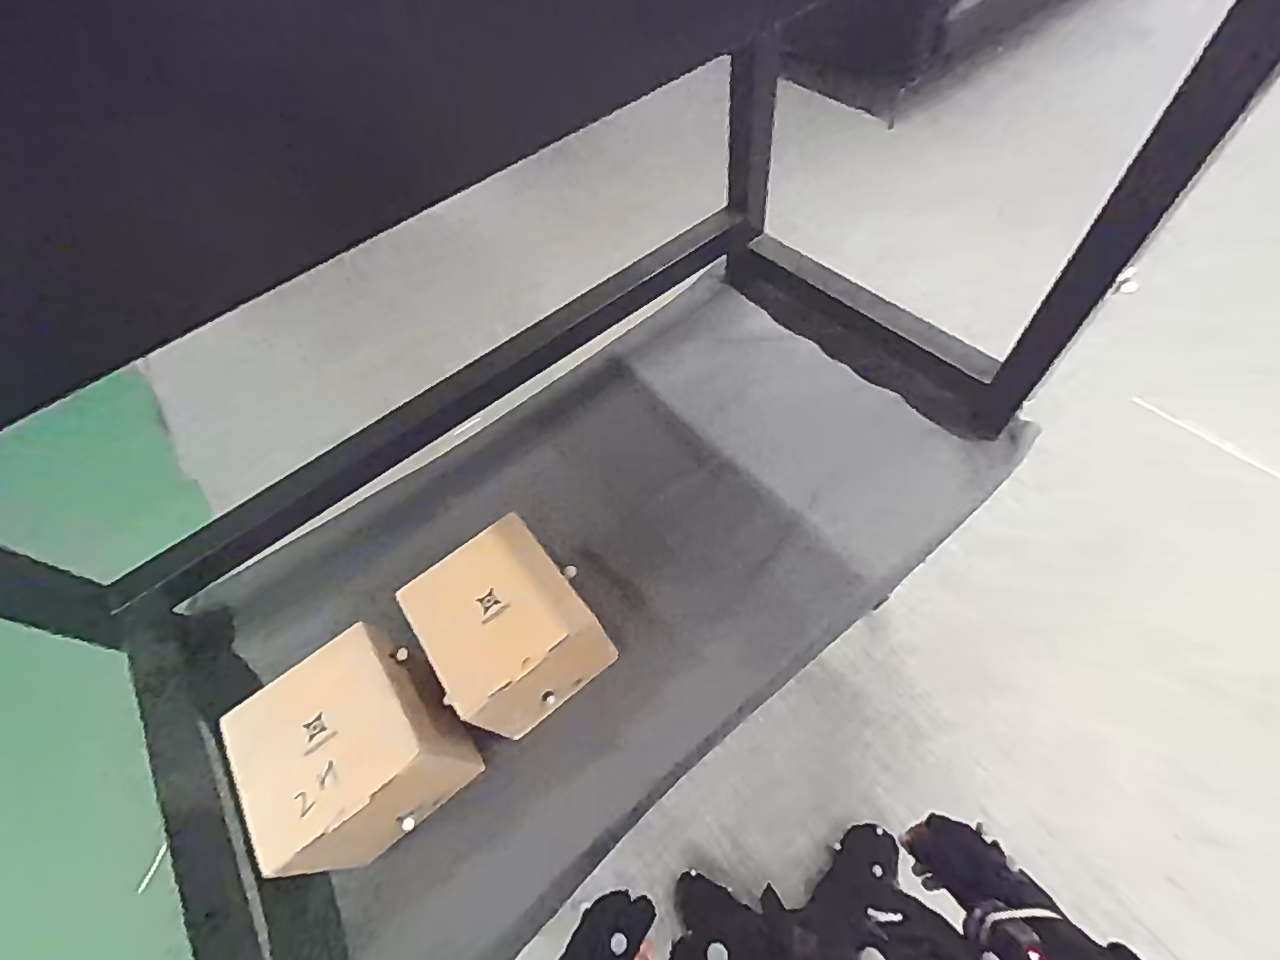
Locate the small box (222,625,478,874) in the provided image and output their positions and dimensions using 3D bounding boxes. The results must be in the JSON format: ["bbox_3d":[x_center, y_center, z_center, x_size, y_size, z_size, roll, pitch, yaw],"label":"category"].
[{"bbox_3d":[-0.316,0.303,0.613,0.168,0.176,0.179,-36,59,-14],"label":"small box"}]
